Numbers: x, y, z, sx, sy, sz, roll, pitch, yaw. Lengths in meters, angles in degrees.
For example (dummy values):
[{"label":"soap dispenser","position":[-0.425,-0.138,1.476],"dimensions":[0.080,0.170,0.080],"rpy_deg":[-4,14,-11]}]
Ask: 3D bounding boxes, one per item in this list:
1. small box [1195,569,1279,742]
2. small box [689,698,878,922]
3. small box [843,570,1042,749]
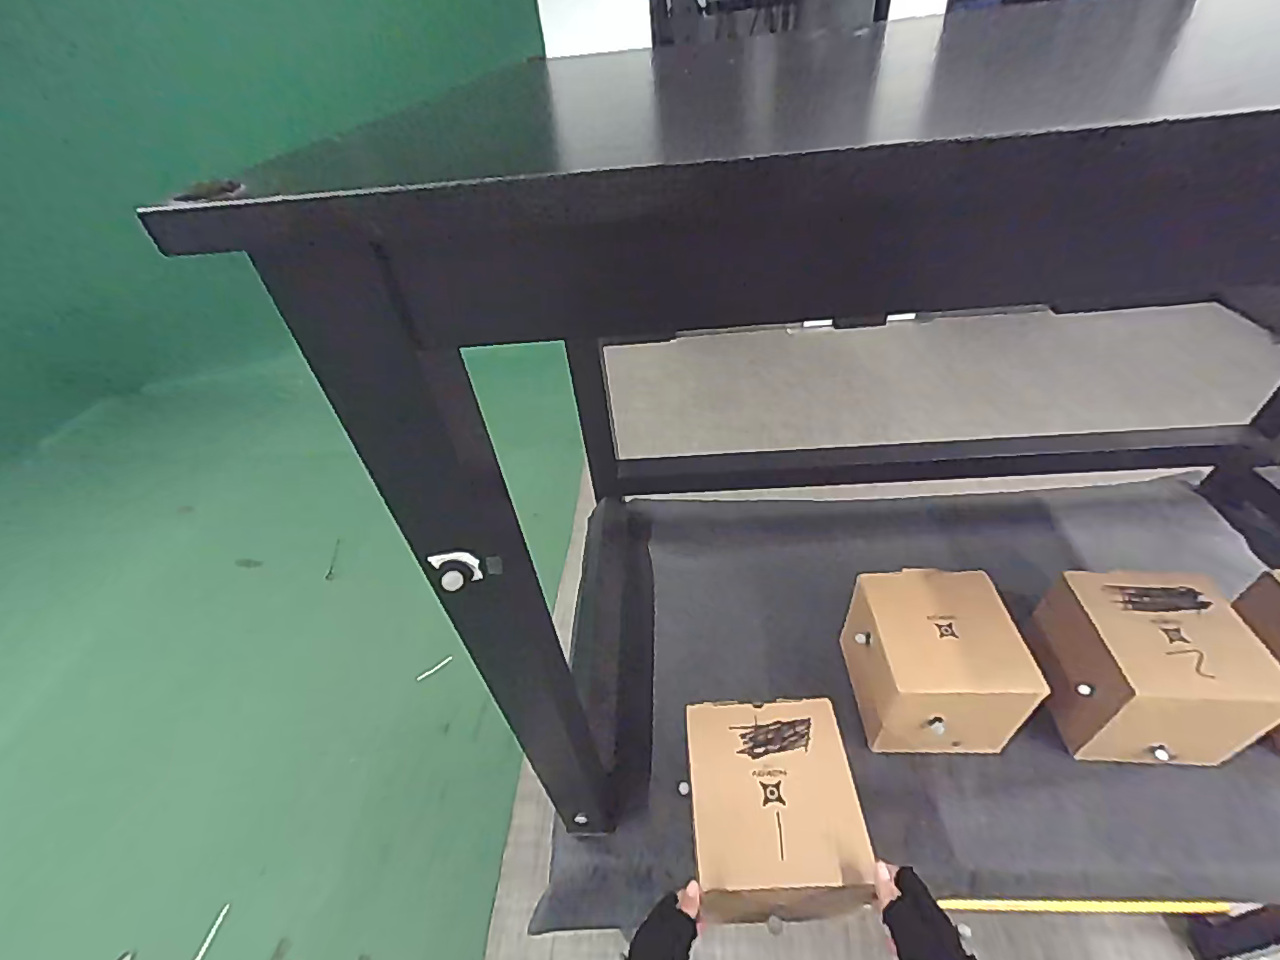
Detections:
[{"label":"small box","position":[0.874,0.227,0.668],"dimensions":[0.168,0.176,0.179],"rpy_deg":[-3,40,5]},{"label":"small box","position":[0.142,0.371,0.611],"dimensions":[0.168,0.176,0.179],"rpy_deg":[-4,43,3]},{"label":"small box","position":[0.385,0.243,0.727],"dimensions":[0.168,0.176,0.179],"rpy_deg":[-3,41,5]}]
